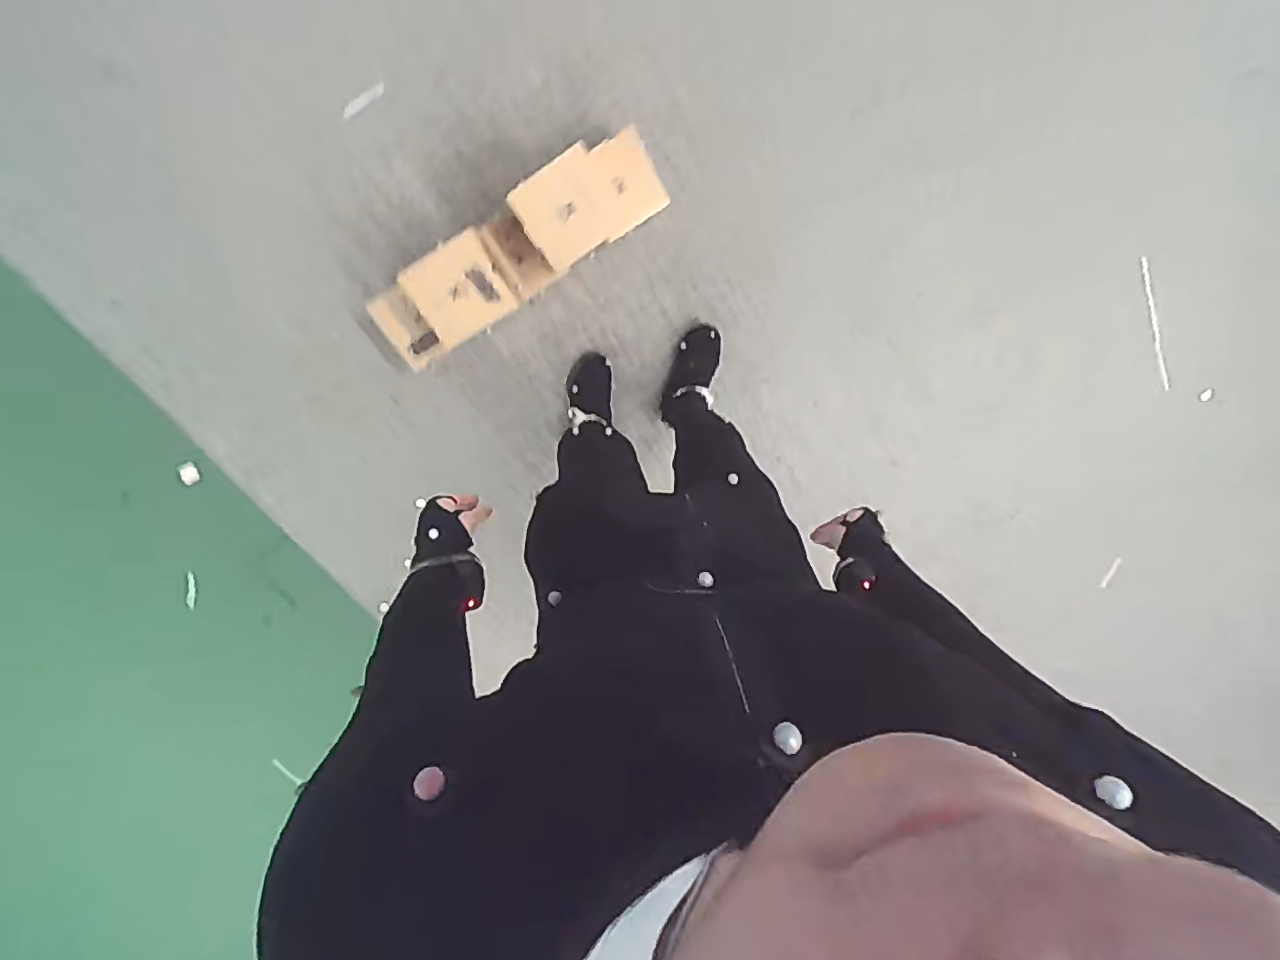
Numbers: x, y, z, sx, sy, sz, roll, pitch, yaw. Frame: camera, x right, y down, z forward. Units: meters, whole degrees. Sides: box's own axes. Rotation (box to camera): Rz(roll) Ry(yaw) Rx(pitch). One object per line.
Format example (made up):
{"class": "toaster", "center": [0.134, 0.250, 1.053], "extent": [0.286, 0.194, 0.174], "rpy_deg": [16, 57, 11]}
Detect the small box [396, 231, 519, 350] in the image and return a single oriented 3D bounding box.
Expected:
{"class": "small box", "center": [-0.368, -0.398, 1.132], "extent": [0.179, 0.176, 0.168], "rpy_deg": [-30, 112, 5]}

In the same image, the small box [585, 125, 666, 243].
{"class": "small box", "center": [-0.062, -0.673, 1.251], "extent": [0.168, 0.176, 0.179], "rpy_deg": [-32, 112, 5]}

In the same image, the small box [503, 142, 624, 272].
{"class": "small box", "center": [-0.156, -0.546, 1.108], "extent": [0.179, 0.176, 0.168], "rpy_deg": [-35, 113, 3]}
